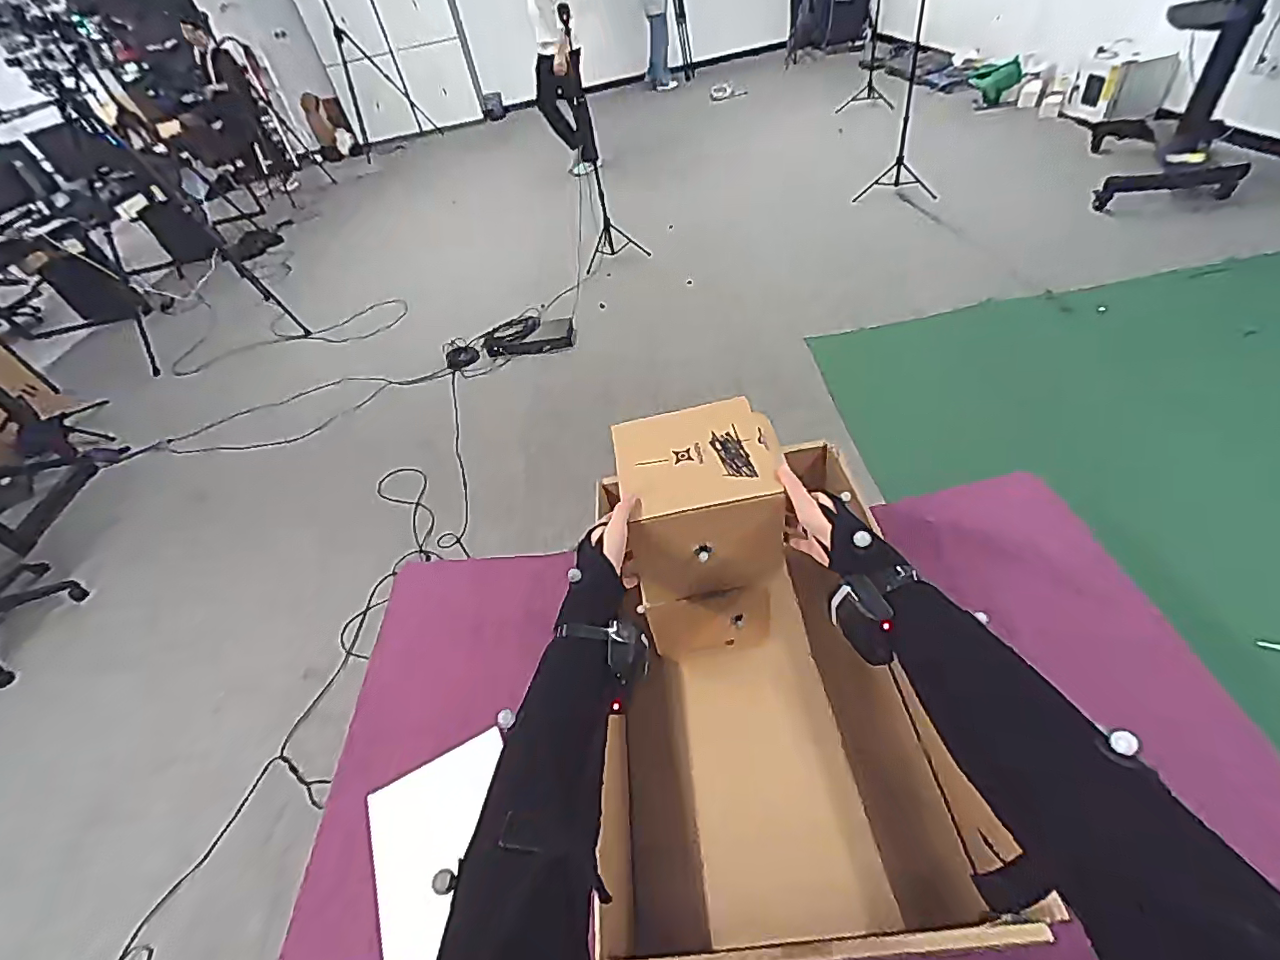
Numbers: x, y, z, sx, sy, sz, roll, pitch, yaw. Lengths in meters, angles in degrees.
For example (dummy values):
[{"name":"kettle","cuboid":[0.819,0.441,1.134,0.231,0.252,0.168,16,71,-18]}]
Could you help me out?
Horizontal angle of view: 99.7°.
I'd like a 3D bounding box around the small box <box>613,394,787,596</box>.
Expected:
[{"name":"small box","cuboid":[0.071,0.022,0.672,0.179,0.176,0.168,-11,46,2]}]
